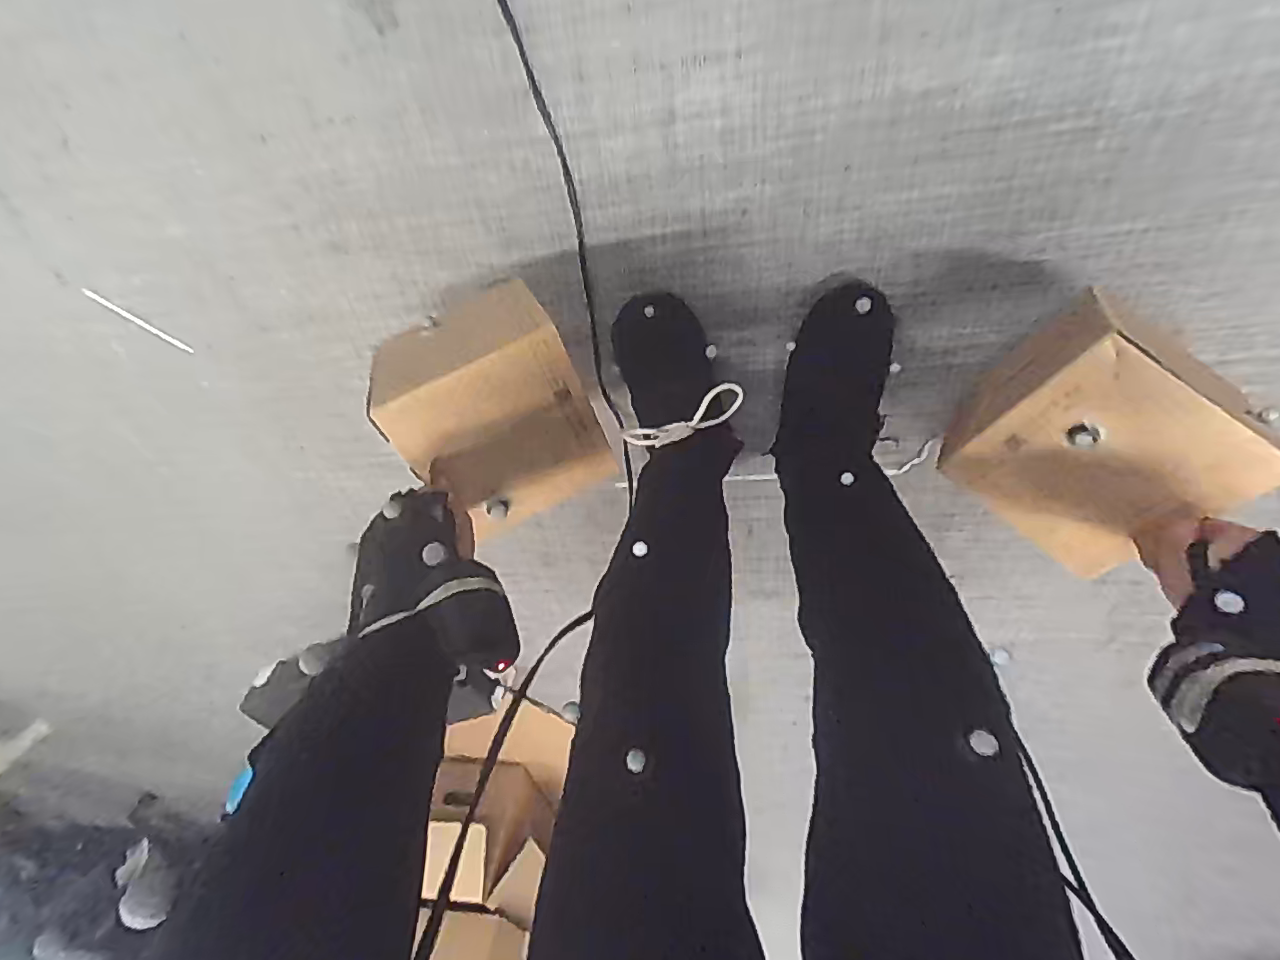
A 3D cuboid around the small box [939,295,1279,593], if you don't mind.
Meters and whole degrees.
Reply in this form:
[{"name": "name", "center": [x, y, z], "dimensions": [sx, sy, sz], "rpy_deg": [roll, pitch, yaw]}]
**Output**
[{"name": "small box", "center": [0.402, -0.040, 0.492], "dimensions": [0.176, 0.179, 0.168], "rpy_deg": [38, 133, 2]}]
